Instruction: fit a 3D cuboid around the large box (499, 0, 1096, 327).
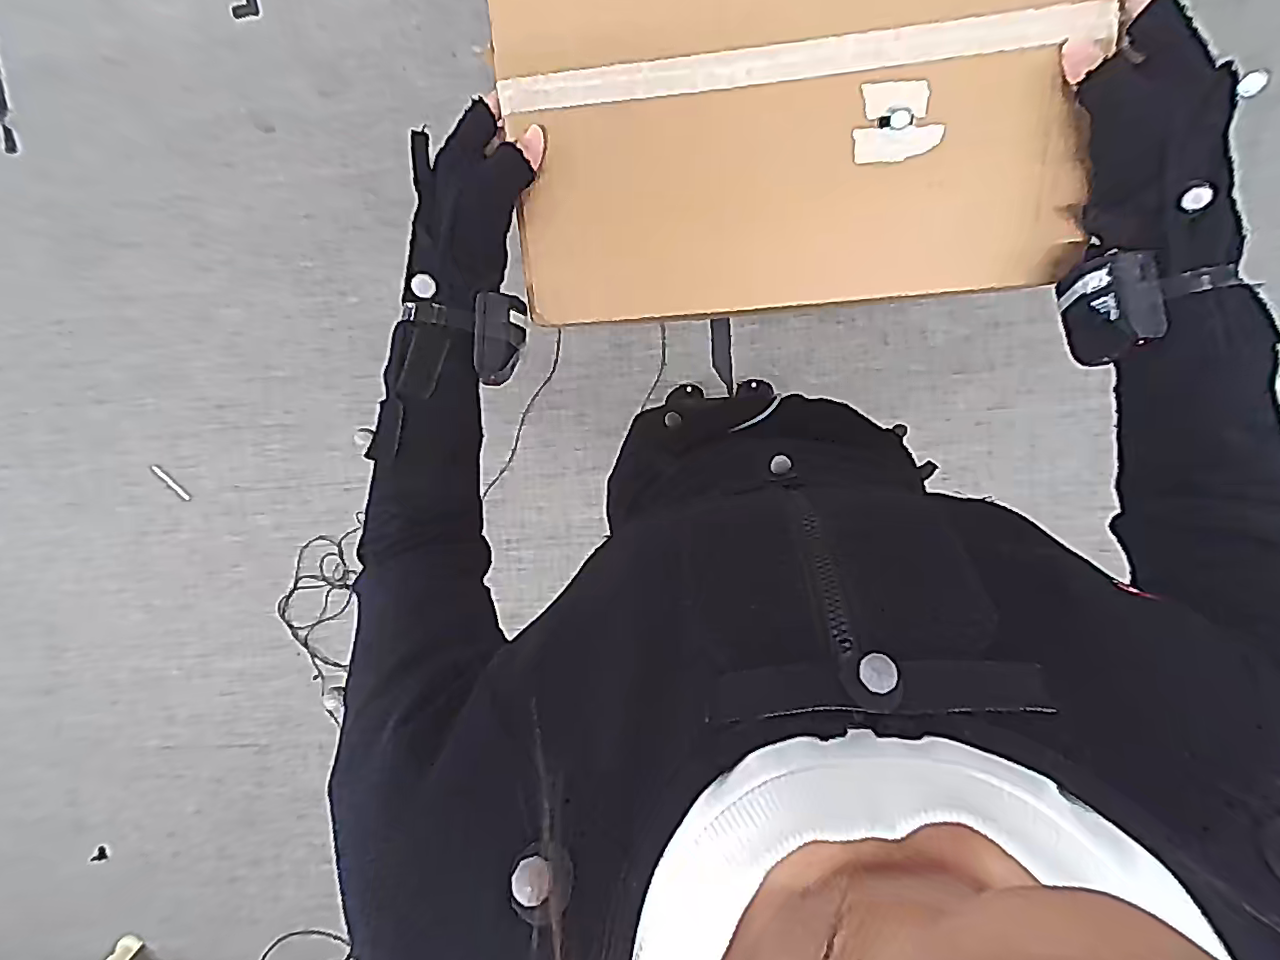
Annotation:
[{"bbox_3d":[0.112,-0.327,0.521,0.408,0.320,0.320,-4,106,5],"label":"large box"}]
